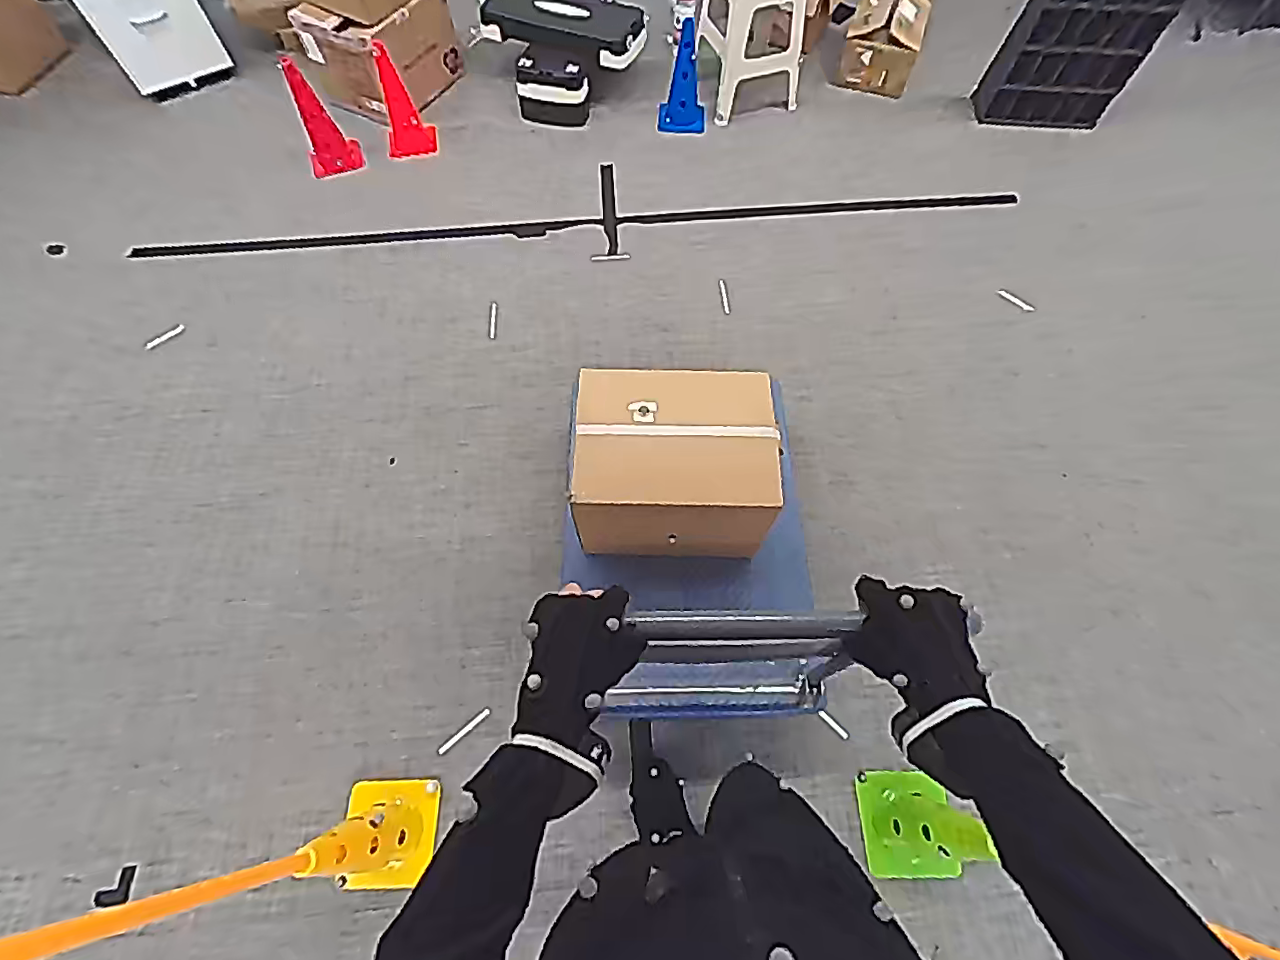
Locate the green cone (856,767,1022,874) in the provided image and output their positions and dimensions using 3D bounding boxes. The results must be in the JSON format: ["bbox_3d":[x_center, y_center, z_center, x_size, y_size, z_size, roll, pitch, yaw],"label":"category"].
[{"bbox_3d":[0.593,0.670,1.039,0.202,0.368,0.200,0,64,-1],"label":"green cone"}]

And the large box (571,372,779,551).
[{"bbox_3d":[0.071,-0.029,1.222,0.408,0.320,0.320,1,64,1],"label":"large box"}]
